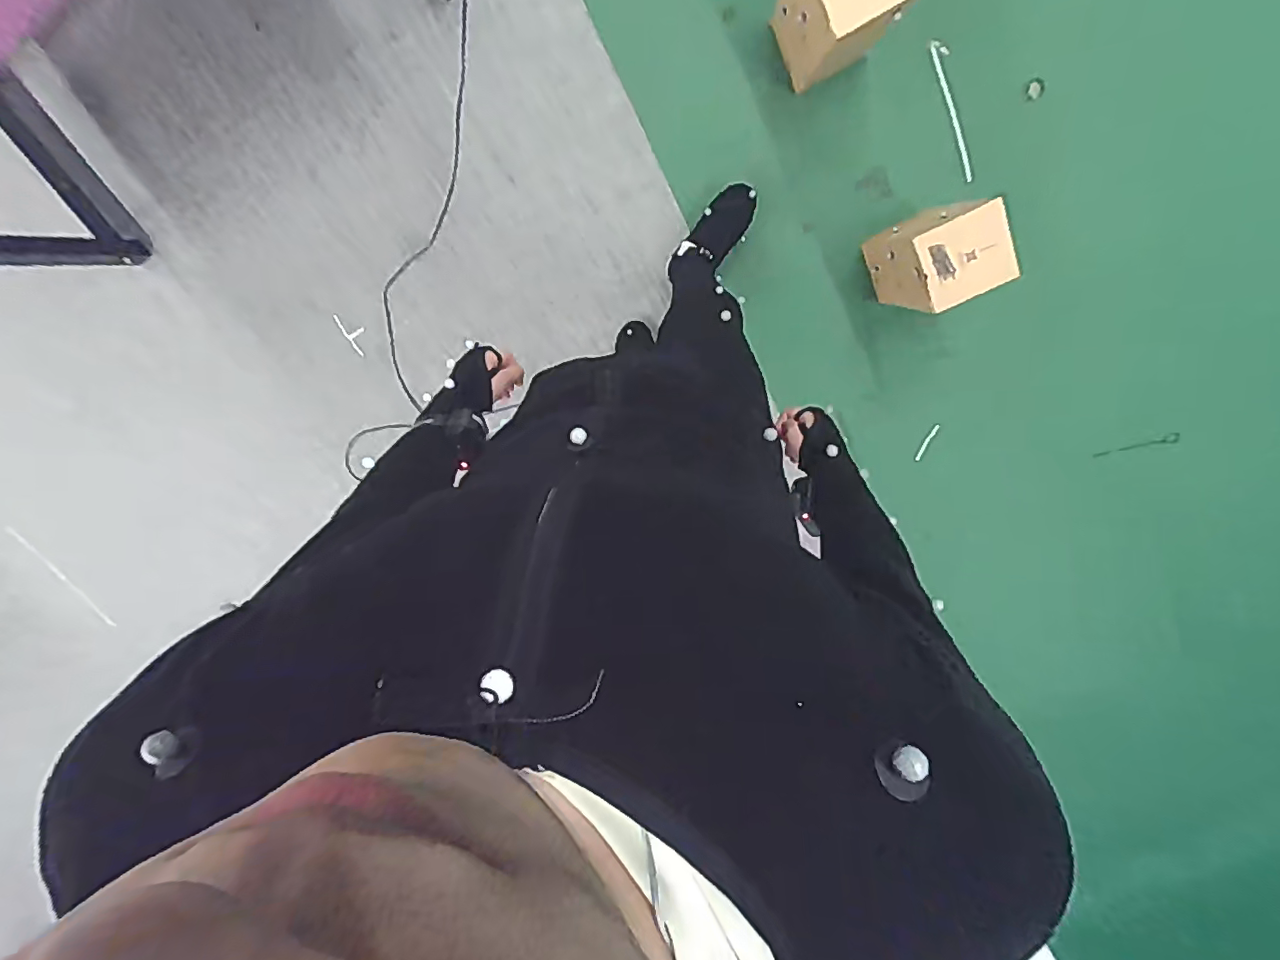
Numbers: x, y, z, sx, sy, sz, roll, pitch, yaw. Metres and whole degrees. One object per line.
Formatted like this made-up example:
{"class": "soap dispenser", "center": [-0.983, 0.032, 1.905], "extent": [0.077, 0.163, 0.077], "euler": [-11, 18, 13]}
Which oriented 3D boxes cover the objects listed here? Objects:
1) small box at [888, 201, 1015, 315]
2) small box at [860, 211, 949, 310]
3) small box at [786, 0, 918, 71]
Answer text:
{"class": "small box", "center": [0.660, -0.476, 1.170], "extent": [0.179, 0.176, 0.168], "euler": [-23, 109, 12]}
{"class": "small box", "center": [0.670, -0.537, 1.322], "extent": [0.179, 0.176, 0.168], "euler": [-24, 109, 13]}
{"class": "small box", "center": [0.392, -0.918, 1.010], "extent": [0.179, 0.176, 0.168], "euler": [-23, 108, 12]}
